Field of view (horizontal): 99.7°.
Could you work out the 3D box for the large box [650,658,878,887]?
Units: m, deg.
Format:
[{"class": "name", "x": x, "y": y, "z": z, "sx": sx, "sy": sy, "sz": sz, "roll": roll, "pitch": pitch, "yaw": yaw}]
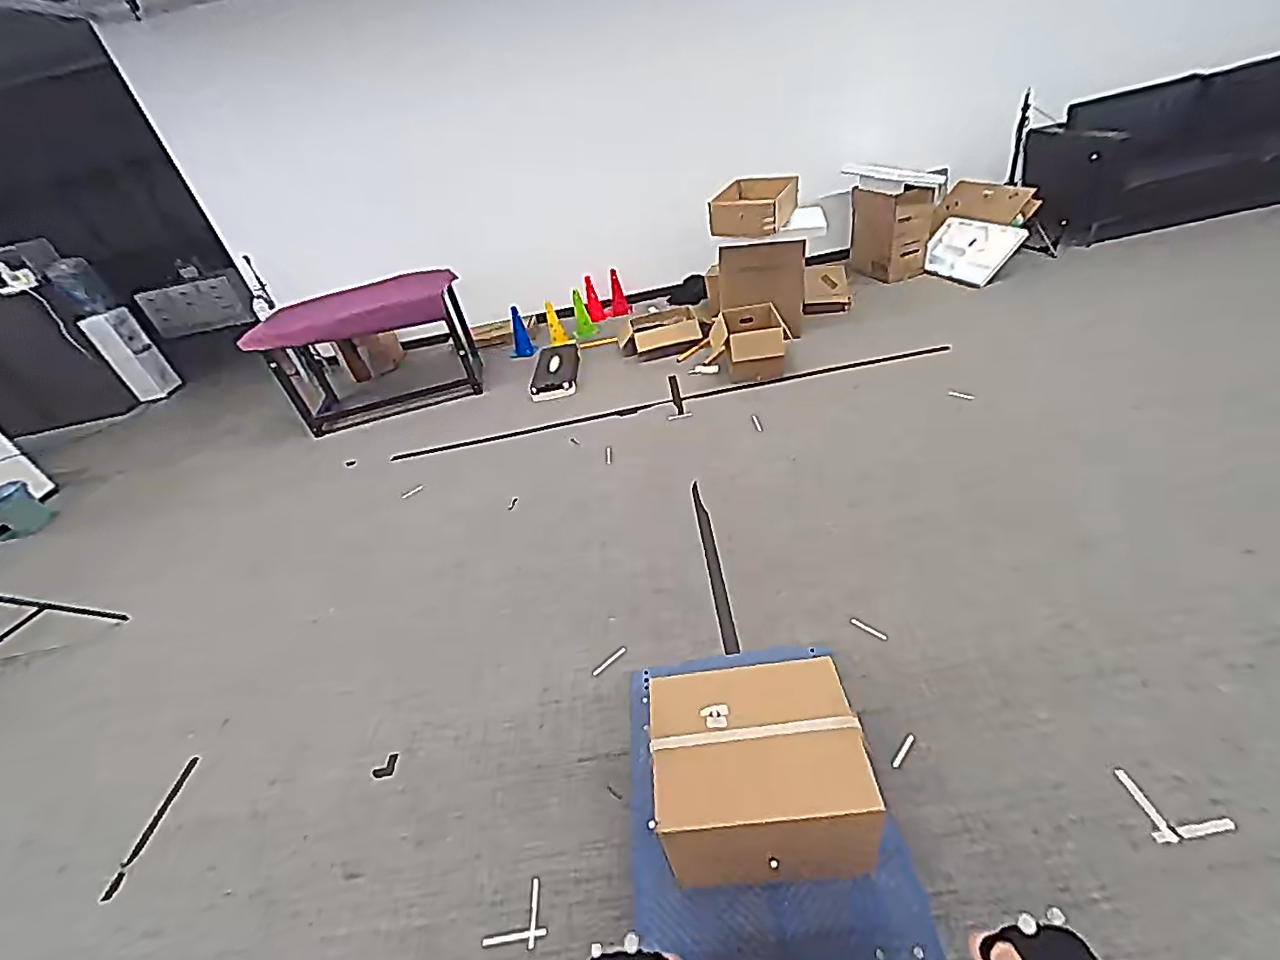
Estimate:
[{"class": "large box", "x": 0.252, "y": 0.635, "z": 1.176, "sx": 0.408, "sy": 0.320, "sz": 0.320, "roll": -10, "pitch": 35, "yaw": 5}]
